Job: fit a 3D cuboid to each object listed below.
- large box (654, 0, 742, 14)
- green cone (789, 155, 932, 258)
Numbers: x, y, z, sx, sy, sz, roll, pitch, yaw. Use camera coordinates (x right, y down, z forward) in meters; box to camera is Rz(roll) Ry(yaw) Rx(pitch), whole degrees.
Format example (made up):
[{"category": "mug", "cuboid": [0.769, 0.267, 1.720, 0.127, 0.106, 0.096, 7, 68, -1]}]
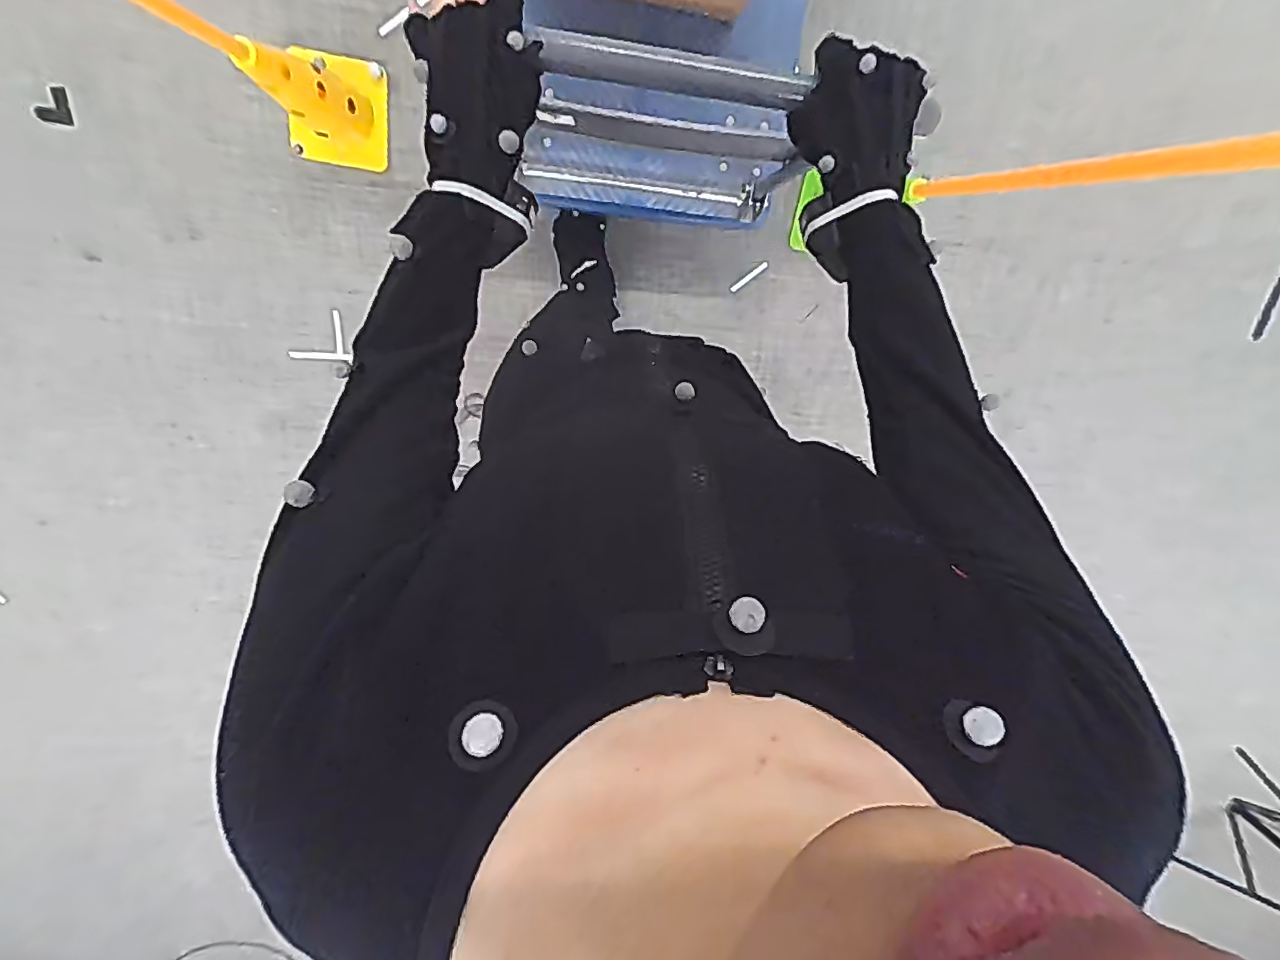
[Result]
[{"category": "large box", "cuboid": [0.009, -0.966, 0.798, 0.408, 0.320, 0.320, 6, 111, -6]}, {"category": "green cone", "cuboid": [0.488, -0.591, 1.143, 0.202, 0.368, 0.200, 7, 111, -9]}]
